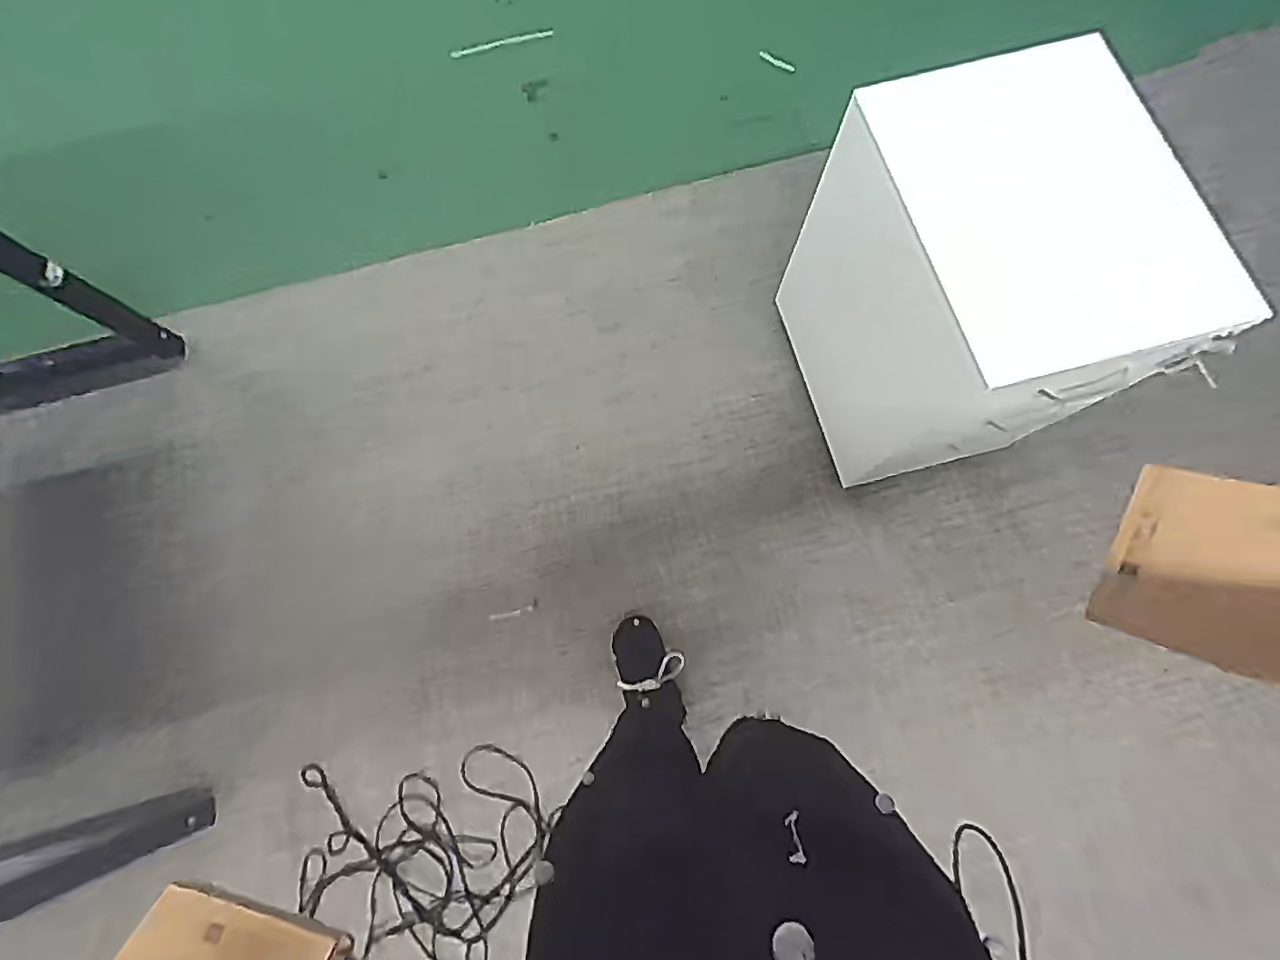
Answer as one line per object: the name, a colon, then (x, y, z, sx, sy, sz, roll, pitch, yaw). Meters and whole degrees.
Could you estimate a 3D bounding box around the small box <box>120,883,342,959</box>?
small box: (-0.411, 0.512, 0.516, 0.168, 0.179, 0.176, 26, 47, -6)
